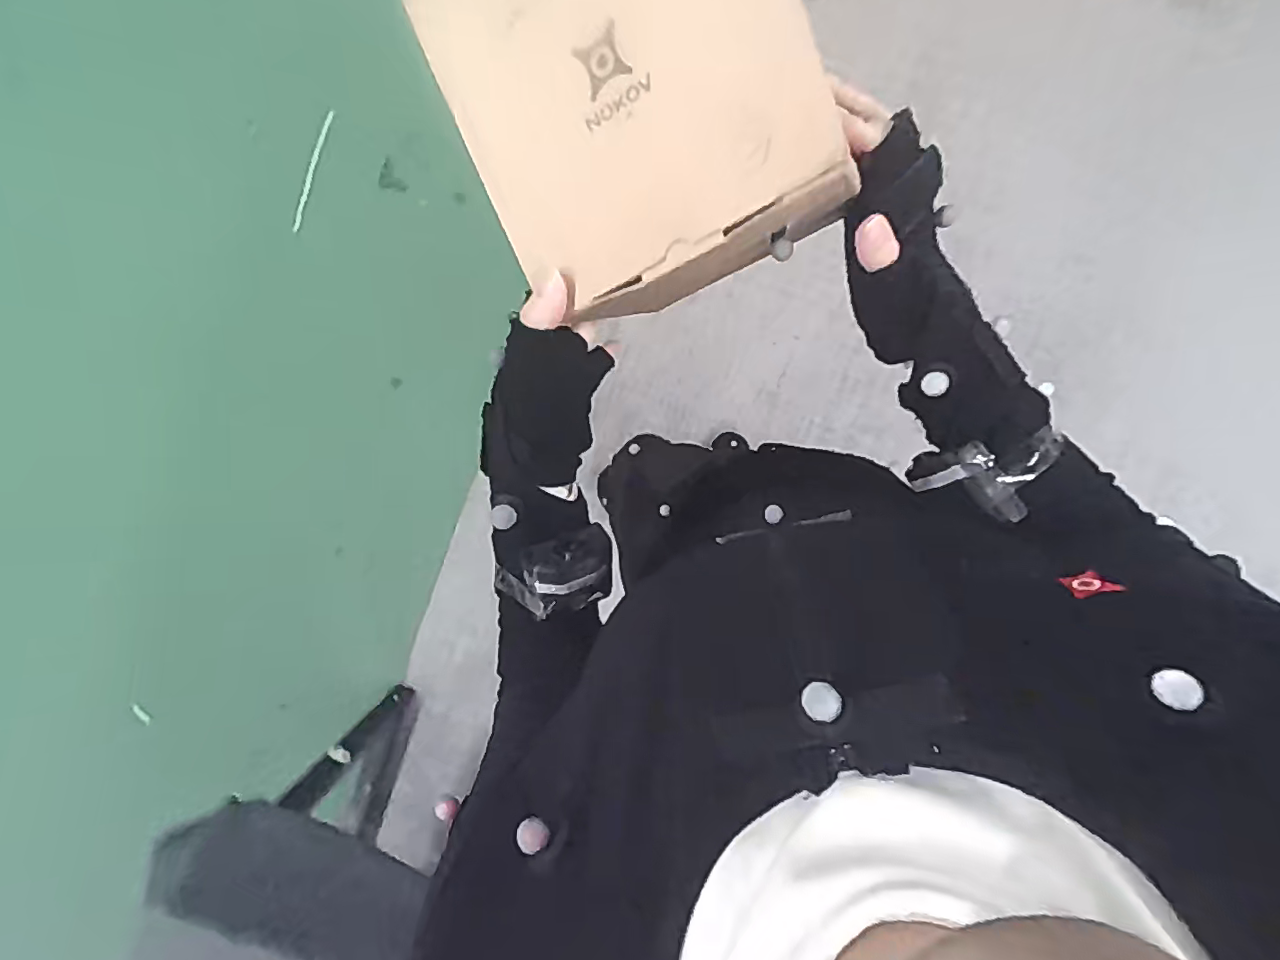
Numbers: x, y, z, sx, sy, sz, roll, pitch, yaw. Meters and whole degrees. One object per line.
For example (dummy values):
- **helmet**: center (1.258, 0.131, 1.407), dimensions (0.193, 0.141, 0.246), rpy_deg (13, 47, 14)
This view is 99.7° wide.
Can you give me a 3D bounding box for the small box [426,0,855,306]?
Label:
- **small box**: center (0.019, -0.219, 0.316), dimensions (0.168, 0.176, 0.179), rpy_deg (-17, 100, 27)
